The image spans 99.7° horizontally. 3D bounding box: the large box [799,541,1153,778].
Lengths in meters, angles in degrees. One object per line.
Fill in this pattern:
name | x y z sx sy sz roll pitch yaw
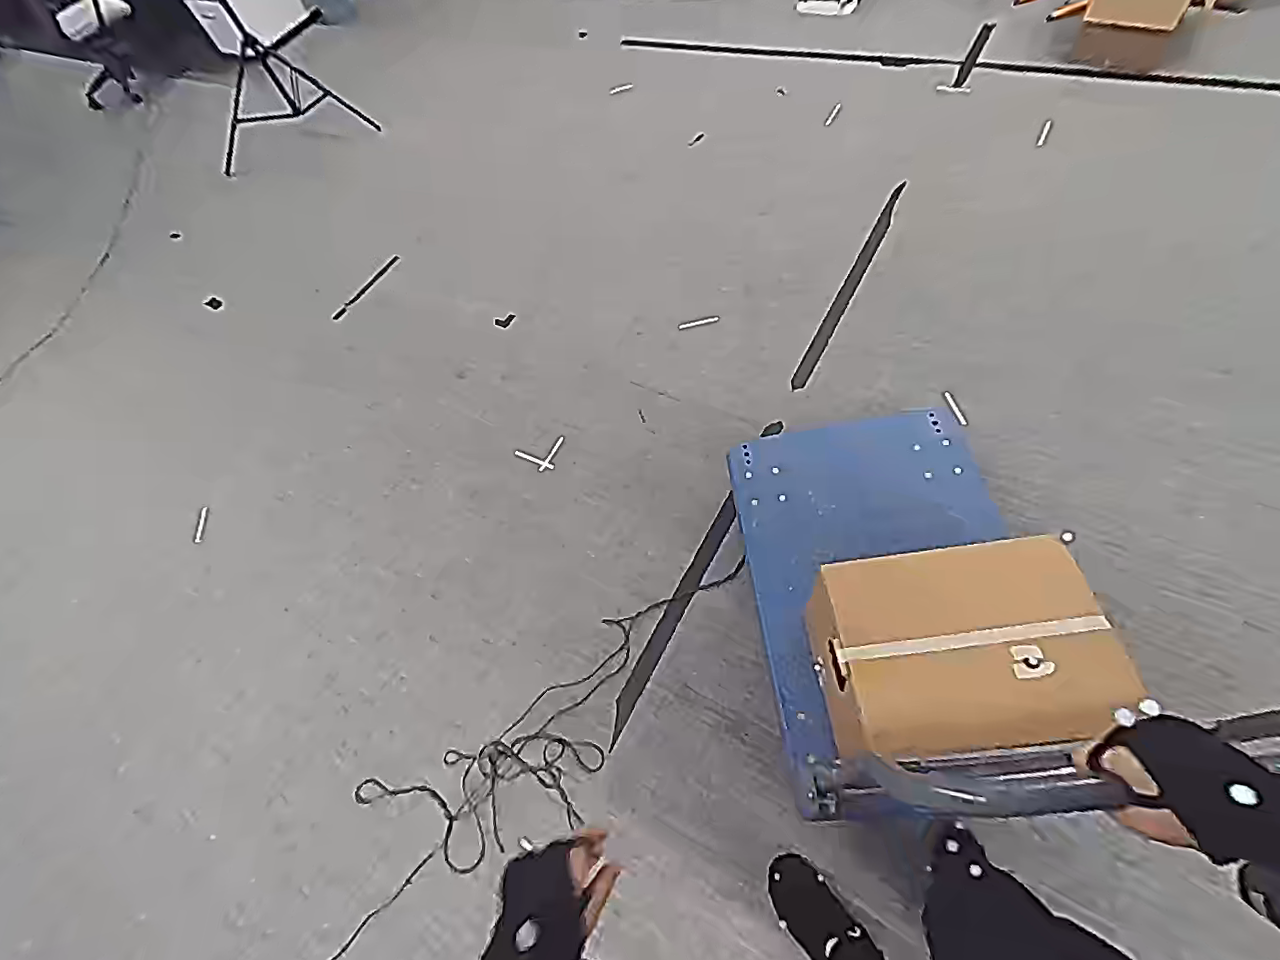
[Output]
large box | 0.537 0.339 0.978 0.408 0.320 0.320 -8 60 5
